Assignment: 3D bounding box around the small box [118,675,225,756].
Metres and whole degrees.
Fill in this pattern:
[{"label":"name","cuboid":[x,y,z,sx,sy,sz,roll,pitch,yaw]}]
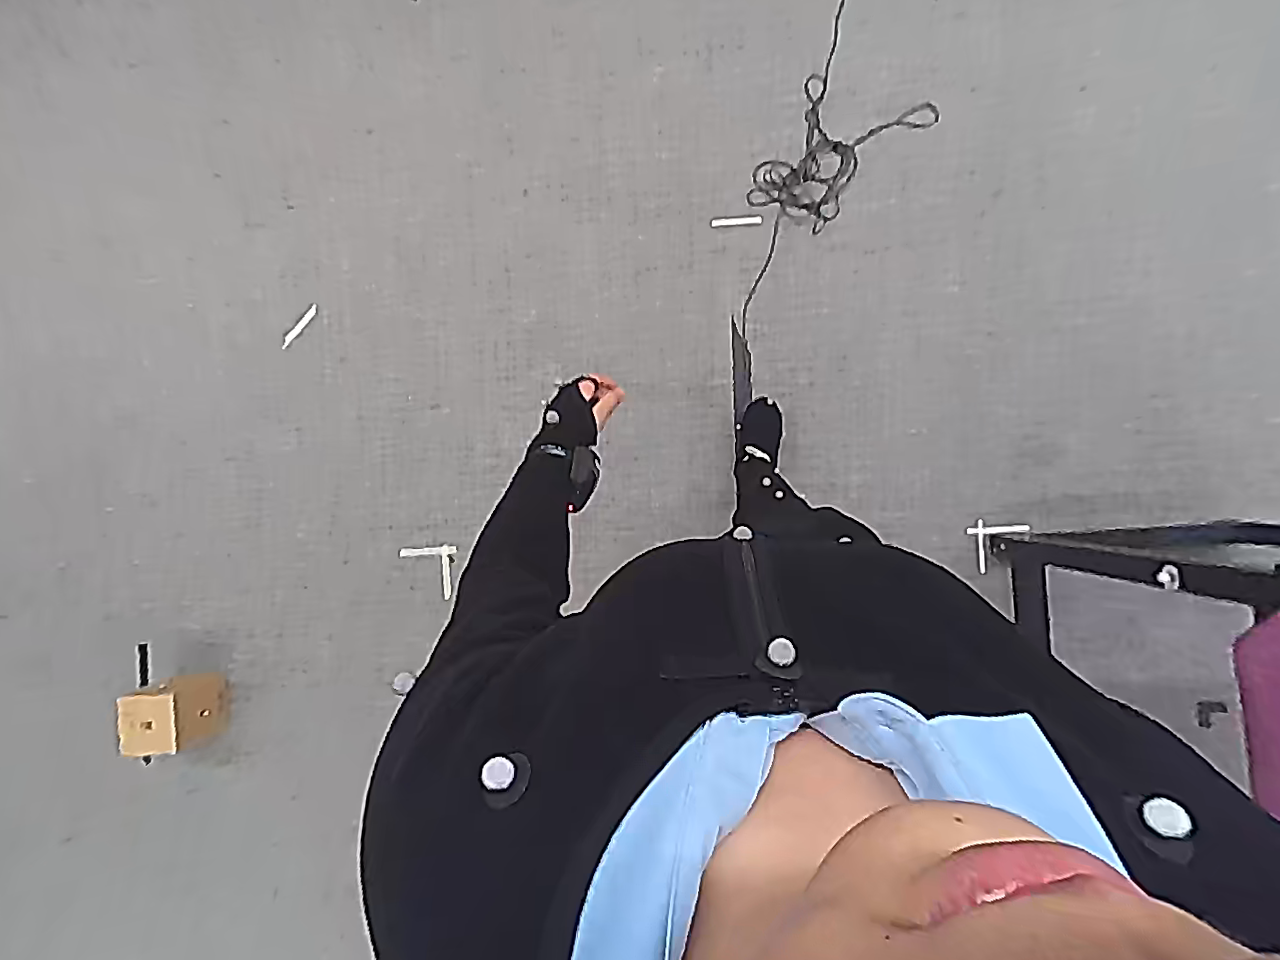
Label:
[{"label":"small box","cuboid":[-1.337,0.672,1.557,0.179,0.176,0.168,-4,88,7]}]
